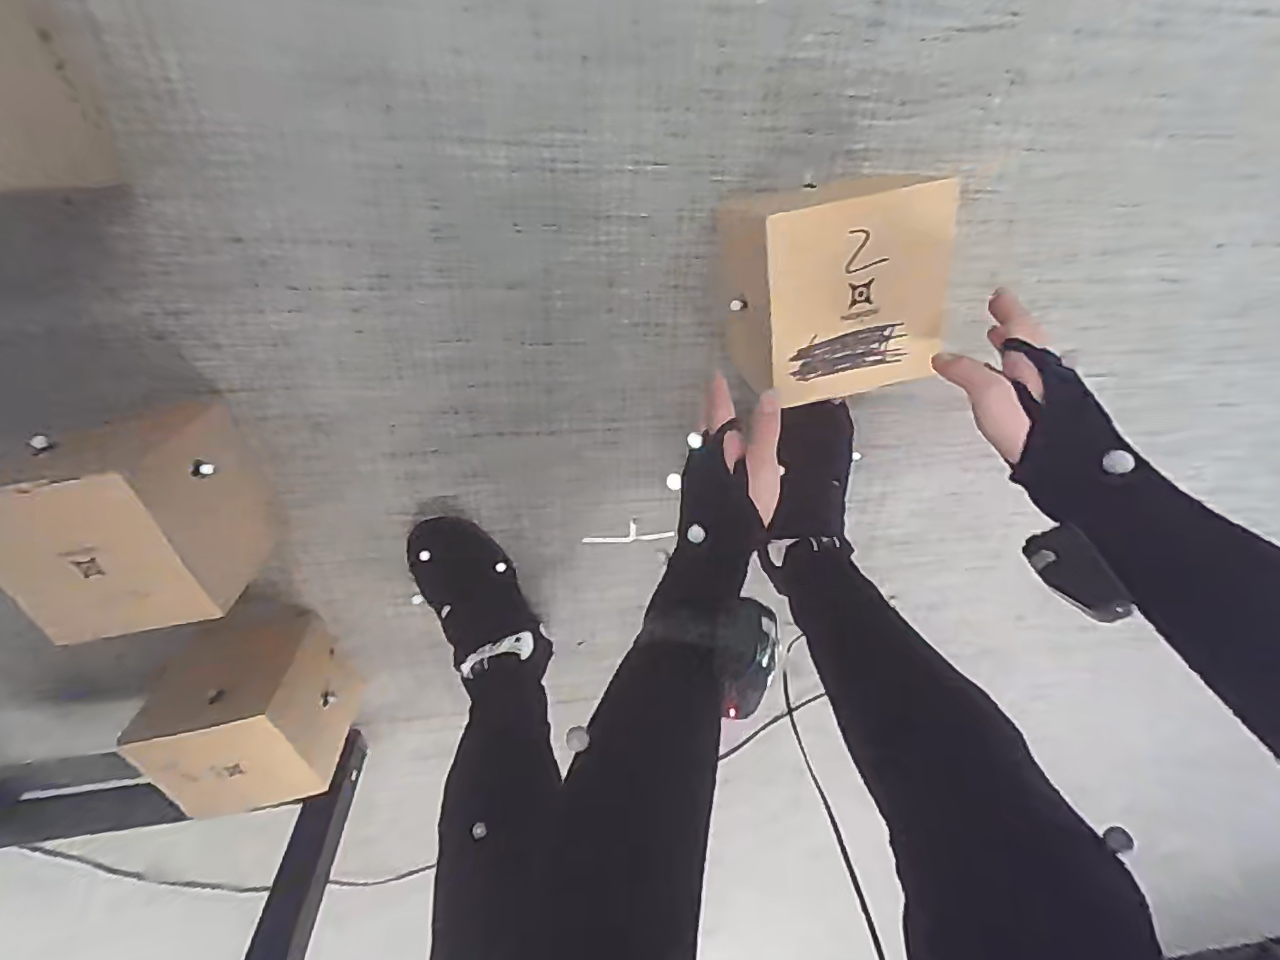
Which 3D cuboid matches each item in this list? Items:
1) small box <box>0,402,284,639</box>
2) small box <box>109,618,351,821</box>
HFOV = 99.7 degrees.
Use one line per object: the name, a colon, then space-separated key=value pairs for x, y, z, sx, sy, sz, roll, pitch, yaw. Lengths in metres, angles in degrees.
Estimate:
small box: x=-0.515 y=0.029 z=0.557 sx=0.168 sy=0.176 sz=0.179 roll=-9 pitch=121 yaw=-3
small box: x=-0.510 y=0.305 z=0.714 sx=0.179 sy=0.176 sz=0.168 roll=-11 pitch=121 yaw=-3
